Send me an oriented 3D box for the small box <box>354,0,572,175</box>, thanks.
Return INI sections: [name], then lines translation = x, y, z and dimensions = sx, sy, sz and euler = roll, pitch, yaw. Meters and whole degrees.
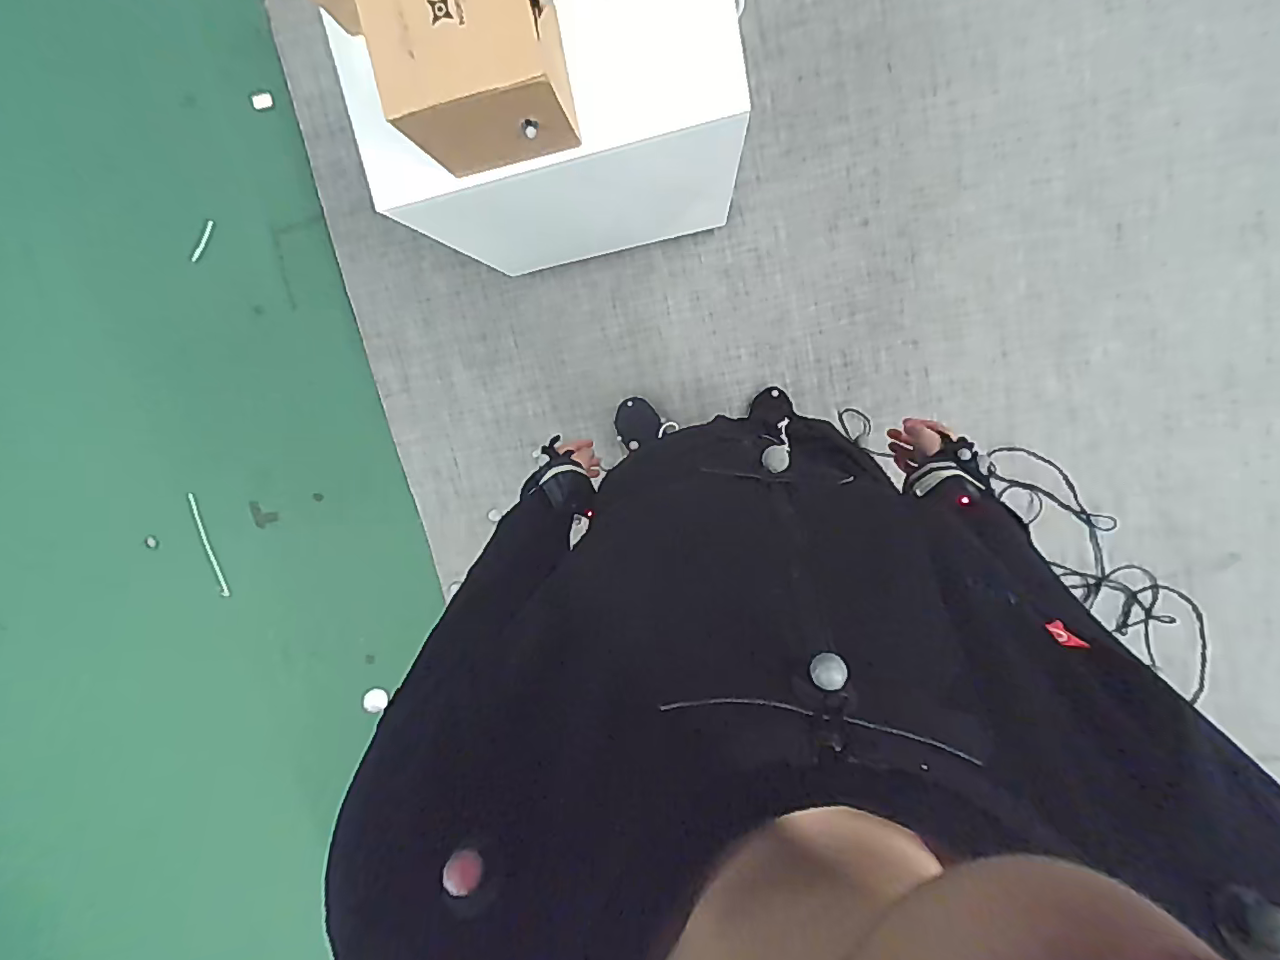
[small box]
translation = -0.182, -0.470, 0.599
dimensions = 0.179, 0.176, 0.168
euler = -10, 99, 8
